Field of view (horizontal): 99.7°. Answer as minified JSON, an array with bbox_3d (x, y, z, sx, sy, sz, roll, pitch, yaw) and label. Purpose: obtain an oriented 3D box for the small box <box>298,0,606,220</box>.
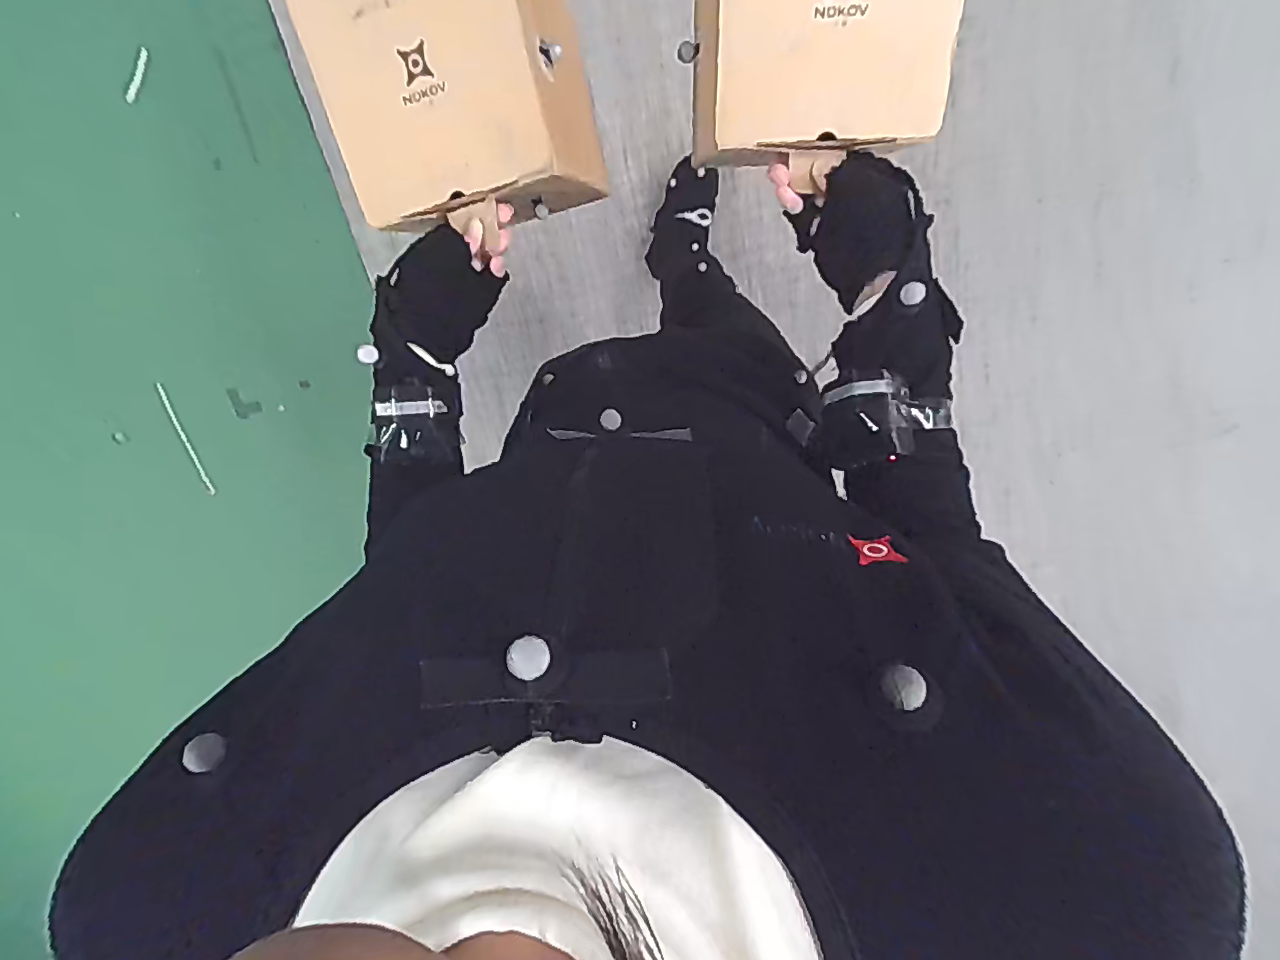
[{"bbox_3d":[-0.139,-0.332,0.458,0.168,0.176,0.179,-9,109,15],"label":"small box"}]
